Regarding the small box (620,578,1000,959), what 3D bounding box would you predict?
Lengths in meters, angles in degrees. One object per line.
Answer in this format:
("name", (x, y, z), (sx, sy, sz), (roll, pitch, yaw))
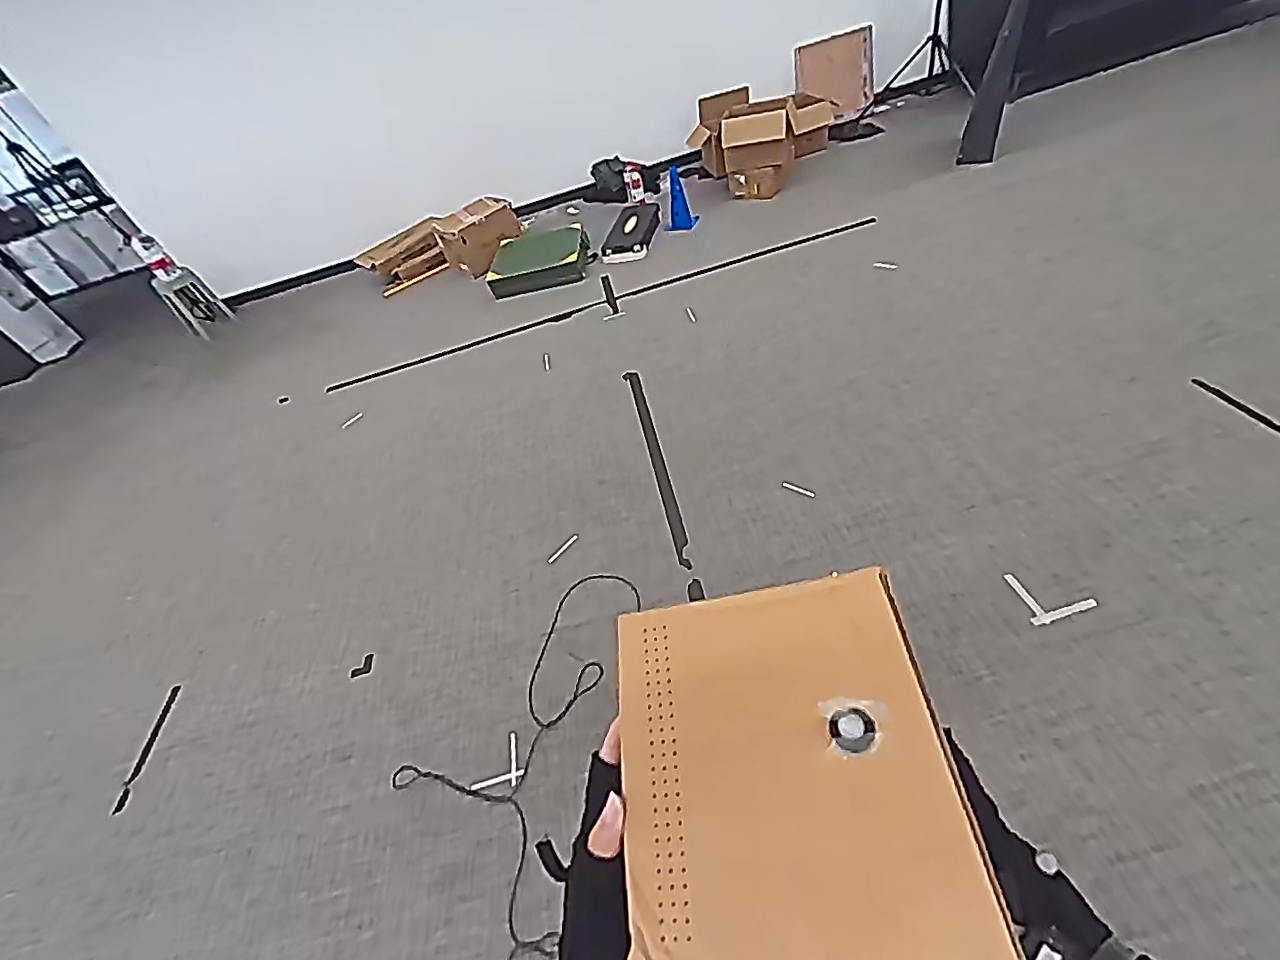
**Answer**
("small box", (0.091, 0.189, 0.349), (0.176, 0.168, 0.179), (-15, 52, 15))
